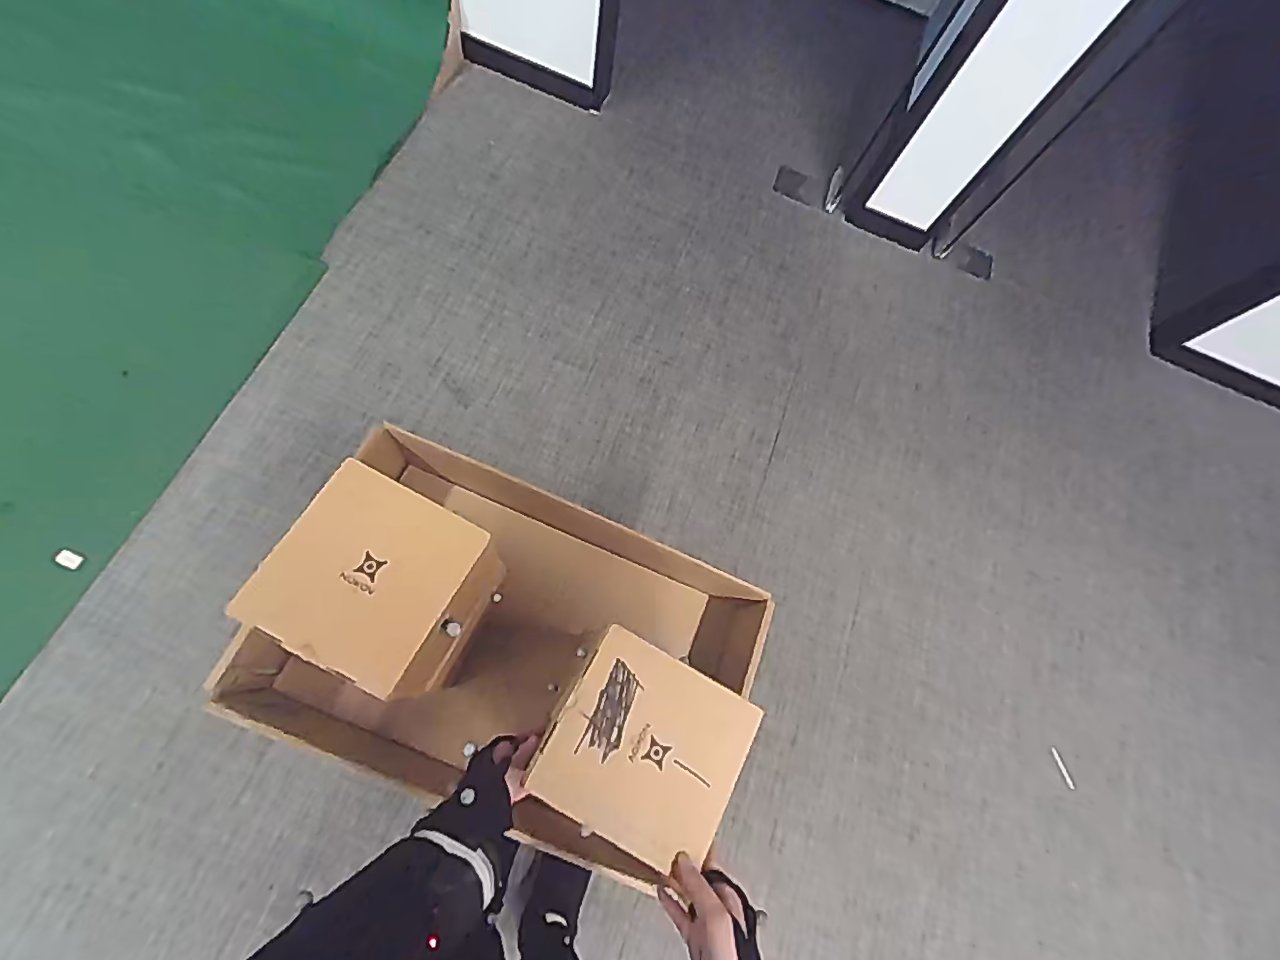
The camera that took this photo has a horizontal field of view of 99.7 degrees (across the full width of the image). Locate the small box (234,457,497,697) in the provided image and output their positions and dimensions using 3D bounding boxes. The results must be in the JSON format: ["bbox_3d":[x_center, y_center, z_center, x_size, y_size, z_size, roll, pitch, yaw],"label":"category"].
[{"bbox_3d":[-0.270,0.110,0.586,0.168,0.176,0.179,29,69,0],"label":"small box"}]

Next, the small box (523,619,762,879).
[{"bbox_3d":[-0.004,0.271,0.577,0.179,0.176,0.168,30,69,2],"label":"small box"}]
